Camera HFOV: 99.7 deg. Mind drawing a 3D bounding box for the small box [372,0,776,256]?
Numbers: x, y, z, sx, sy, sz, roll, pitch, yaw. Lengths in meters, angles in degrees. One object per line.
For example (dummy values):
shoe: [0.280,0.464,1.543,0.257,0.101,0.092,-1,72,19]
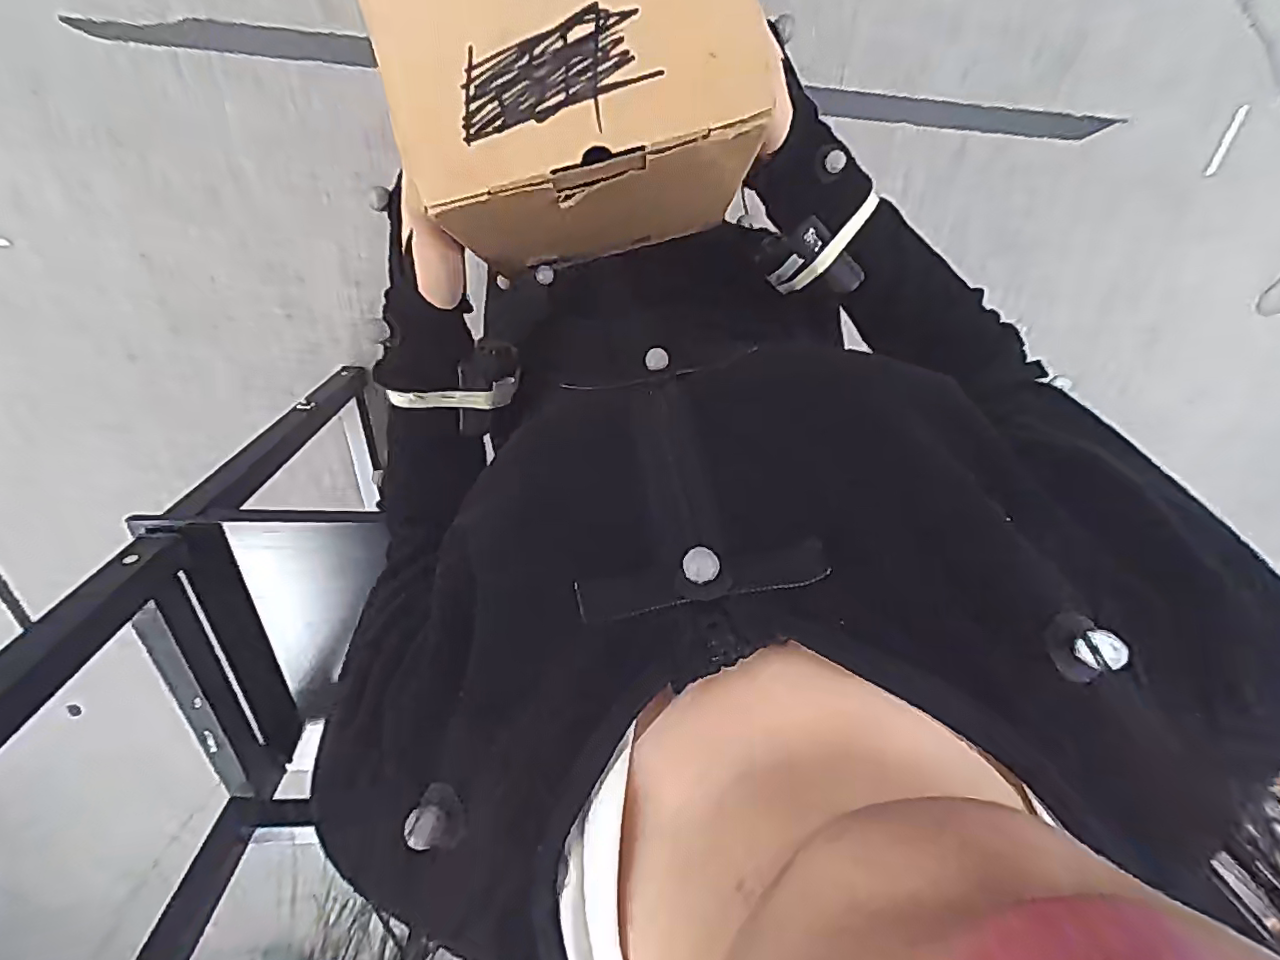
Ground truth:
small box: [-0.037,-0.241,0.305,0.168,0.176,0.179,-14,100,1]
